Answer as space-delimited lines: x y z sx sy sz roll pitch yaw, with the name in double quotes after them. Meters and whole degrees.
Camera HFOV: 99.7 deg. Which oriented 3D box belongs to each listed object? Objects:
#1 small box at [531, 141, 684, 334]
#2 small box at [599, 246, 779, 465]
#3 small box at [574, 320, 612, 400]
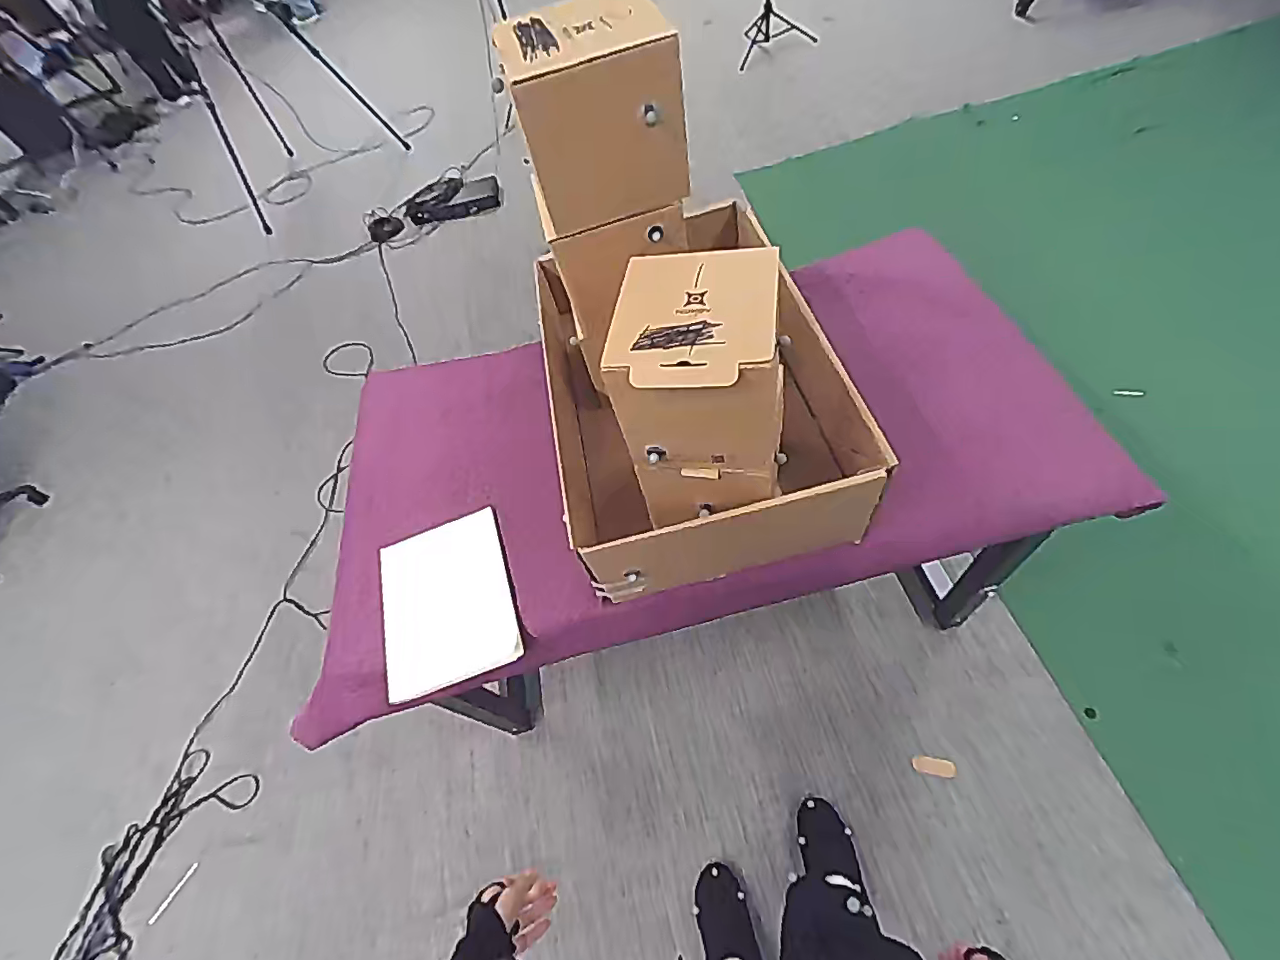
-0.037 -0.337 0.772 0.179 0.176 0.168 -17 57 1 "small box"
0.068 -0.131 0.609 0.168 0.176 0.179 2 56 15 "small box"
-0.015 -0.254 0.909 0.168 0.176 0.179 -15 58 2 "small box"
